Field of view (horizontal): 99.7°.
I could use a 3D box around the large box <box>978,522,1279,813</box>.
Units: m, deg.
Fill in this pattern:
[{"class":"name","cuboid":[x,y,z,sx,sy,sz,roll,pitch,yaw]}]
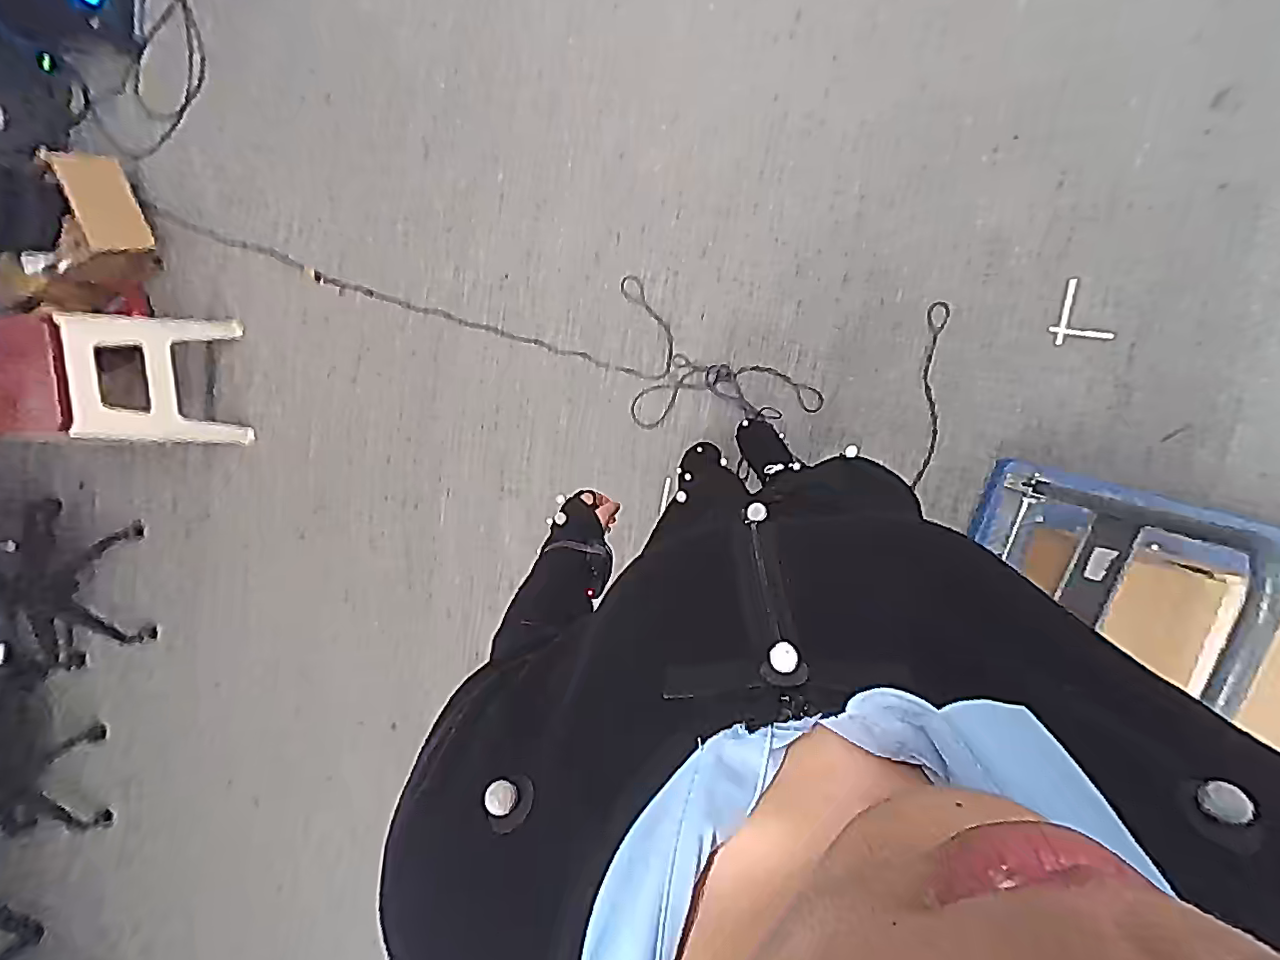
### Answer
[{"class":"large box","cuboid":[0.937,0.330,1.062,0.320,0.320,0.408,13,100,10]}]
